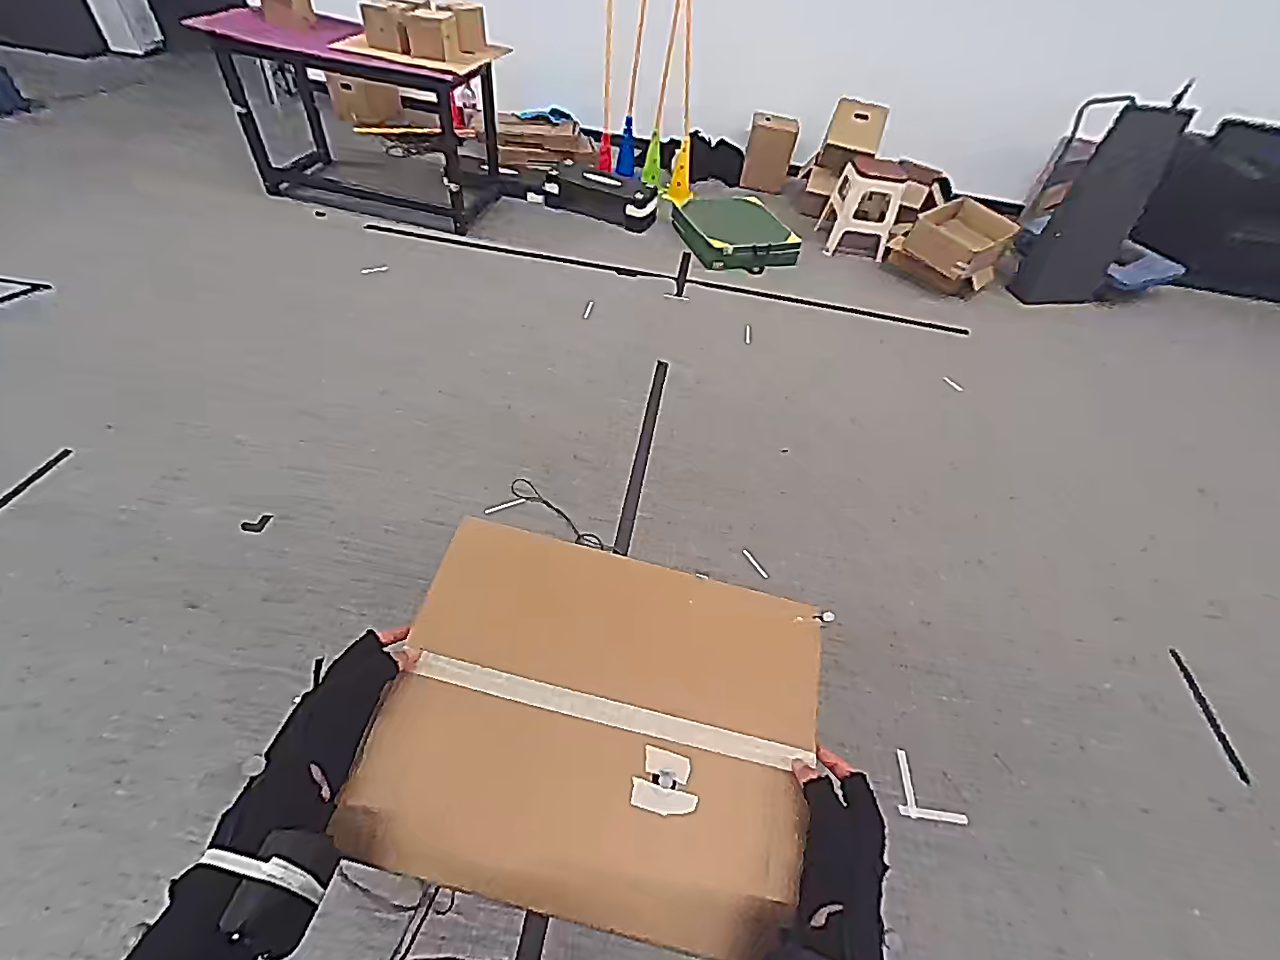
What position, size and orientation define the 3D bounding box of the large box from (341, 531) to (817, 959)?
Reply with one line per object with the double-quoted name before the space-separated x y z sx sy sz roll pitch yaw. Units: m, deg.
"large box" -0.047 0.303 0.651 0.408 0.320 0.320 15 60 1
